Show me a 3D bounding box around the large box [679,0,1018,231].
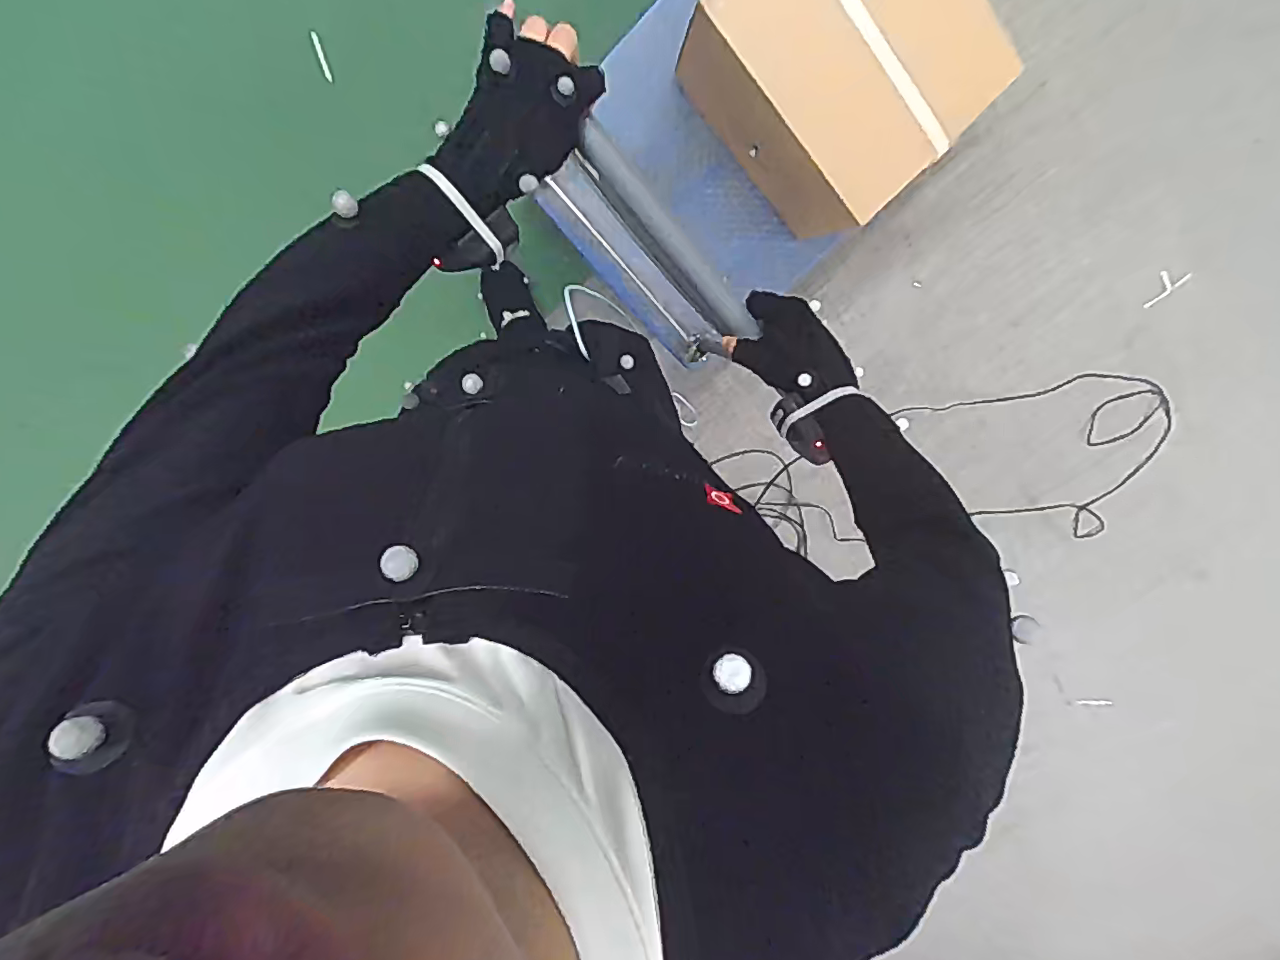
[{"bbox_3d":[0.323,-0.707,0.935,0.320,0.320,0.408,-43,107,11],"label":"large box"}]
